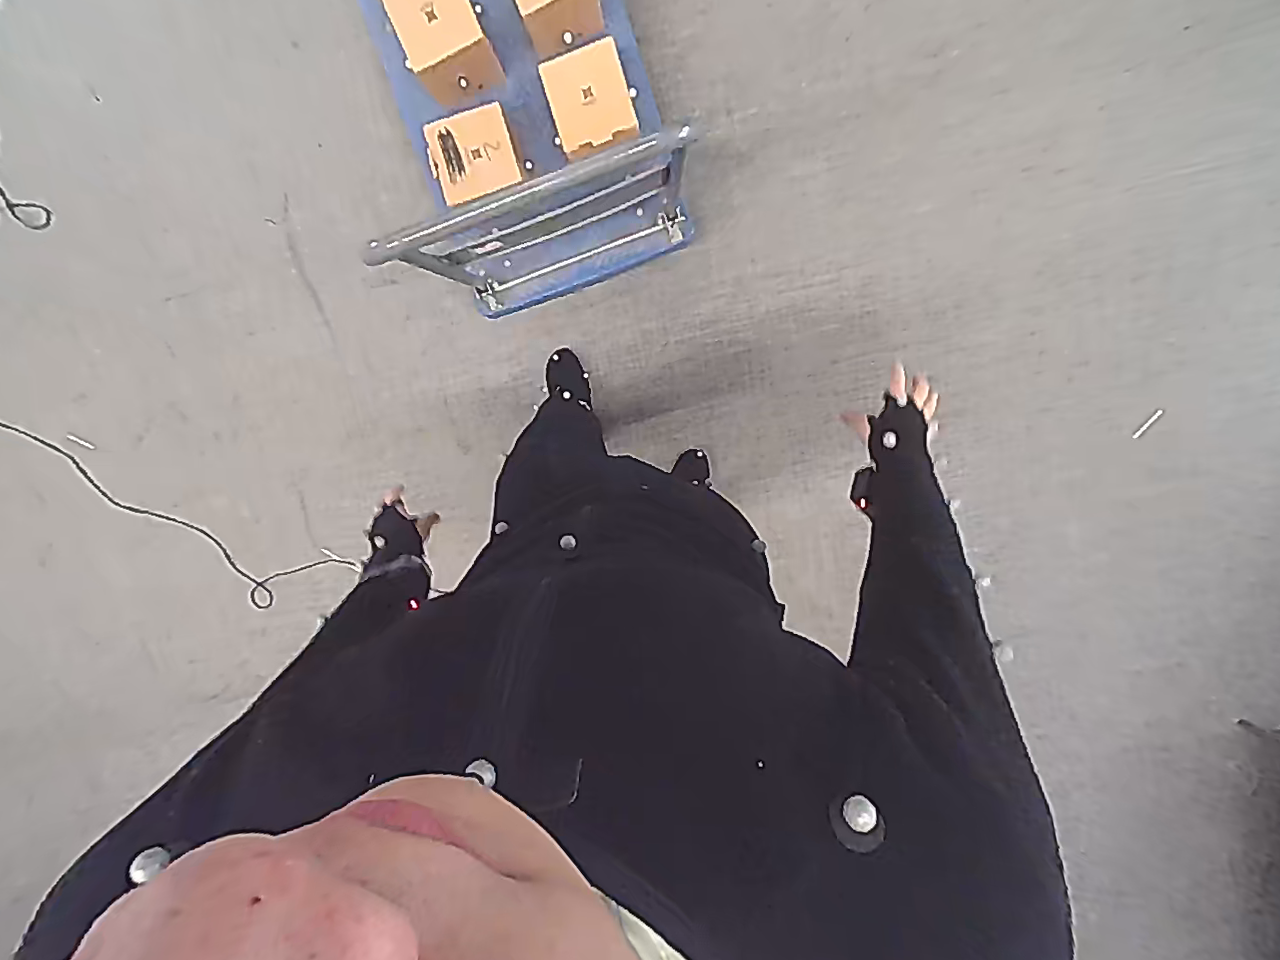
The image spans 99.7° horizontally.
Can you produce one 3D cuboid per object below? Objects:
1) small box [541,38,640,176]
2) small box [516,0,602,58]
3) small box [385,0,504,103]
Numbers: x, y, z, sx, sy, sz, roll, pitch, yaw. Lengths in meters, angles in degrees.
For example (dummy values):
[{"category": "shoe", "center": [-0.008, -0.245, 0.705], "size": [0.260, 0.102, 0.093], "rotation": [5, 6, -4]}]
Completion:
[{"category": "small box", "center": [-0.104, -0.824, 1.212], "size": [0.168, 0.176, 0.179], "rotation": [-18, 100, 6]}, {"category": "small box", "center": [-0.194, -1.074, 1.165], "size": [0.168, 0.176, 0.179], "rotation": [-22, 100, 8]}, {"category": "small box", "center": [-0.425, -0.979, 1.196], "size": [0.168, 0.176, 0.179], "rotation": [-22, 99, 6]}]
